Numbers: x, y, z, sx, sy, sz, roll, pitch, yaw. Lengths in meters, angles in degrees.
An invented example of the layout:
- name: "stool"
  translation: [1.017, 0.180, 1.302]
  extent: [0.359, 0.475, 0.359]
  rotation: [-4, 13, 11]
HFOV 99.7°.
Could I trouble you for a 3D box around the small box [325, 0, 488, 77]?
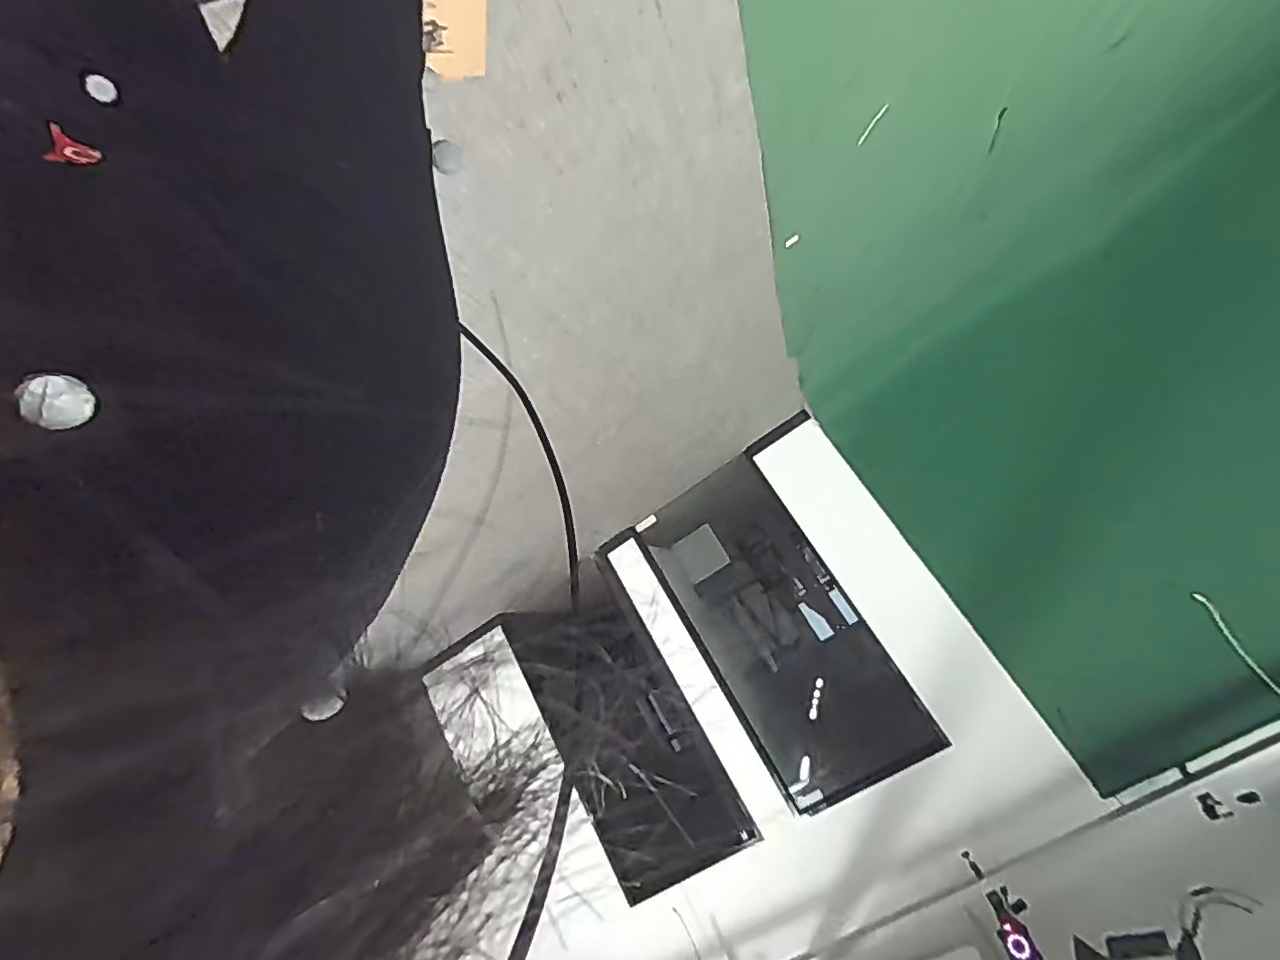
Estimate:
- name: "small box"
  translation: [-0.295, -0.636, 0.658]
  extent: [0.168, 0.176, 0.179]
  rotation: [-21, 159, -27]
